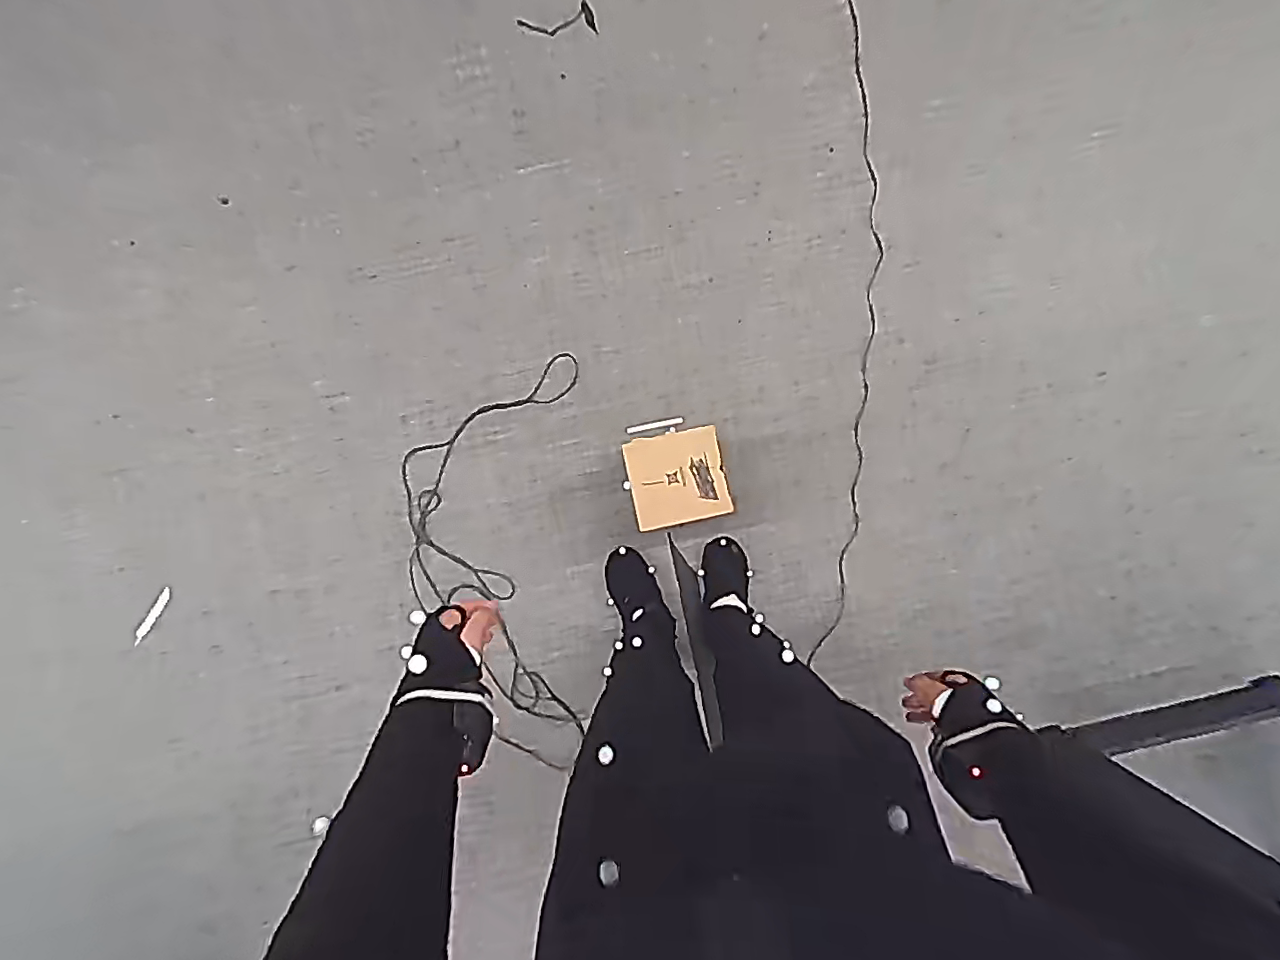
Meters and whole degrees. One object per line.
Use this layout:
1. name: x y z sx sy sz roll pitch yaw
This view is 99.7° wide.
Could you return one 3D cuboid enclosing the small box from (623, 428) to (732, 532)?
1. small box: 0.069 -0.001 1.063 0.179 0.176 0.168 -13 90 2
